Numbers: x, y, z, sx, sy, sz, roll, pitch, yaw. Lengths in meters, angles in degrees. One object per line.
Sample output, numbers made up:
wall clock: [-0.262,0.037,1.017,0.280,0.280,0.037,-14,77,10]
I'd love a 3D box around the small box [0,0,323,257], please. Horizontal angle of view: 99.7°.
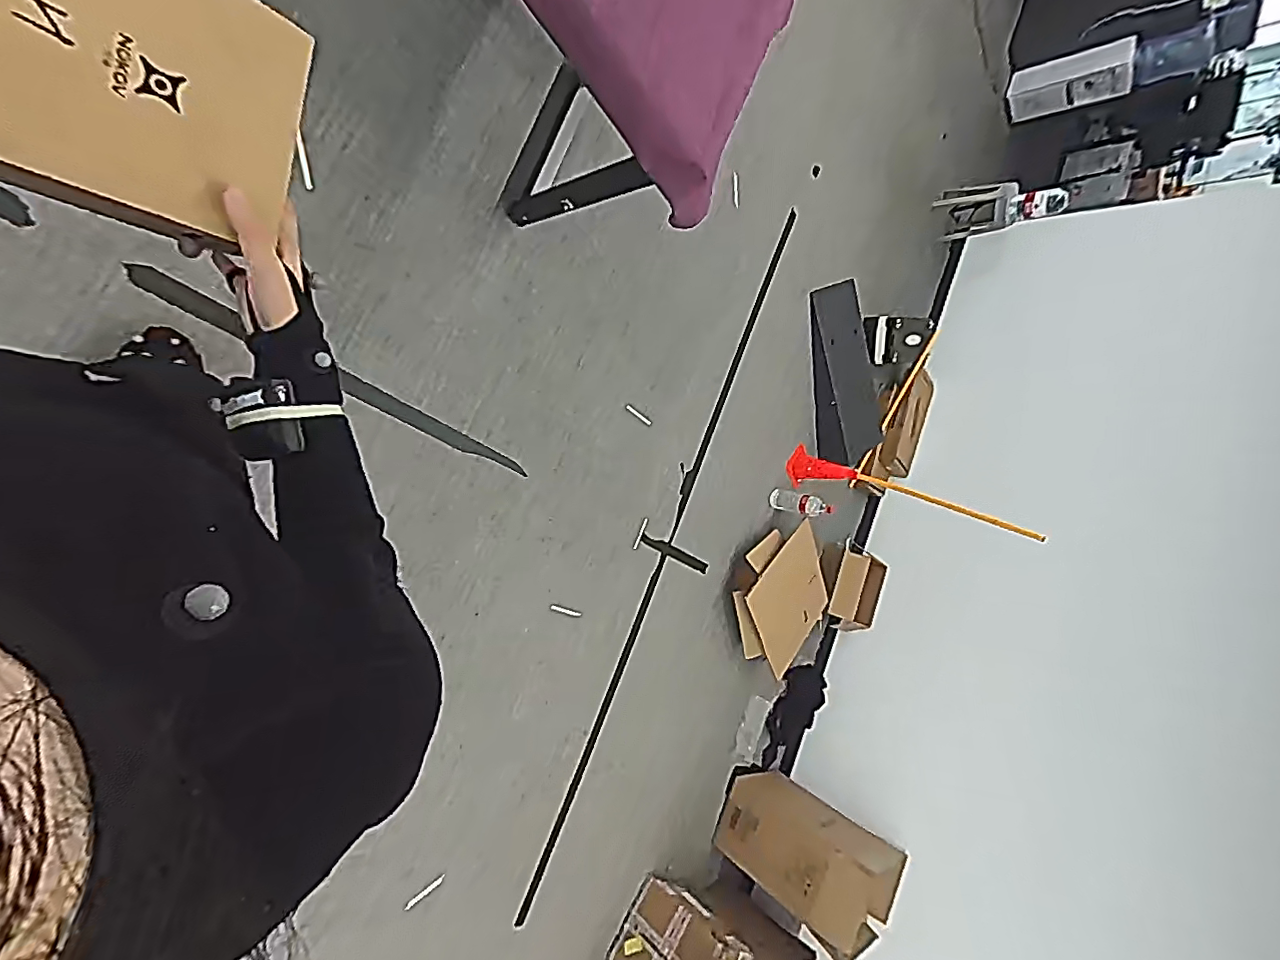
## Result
small box: [-0.377,-0.285,0.407,0.179,0.176,0.168,7,100,-50]
